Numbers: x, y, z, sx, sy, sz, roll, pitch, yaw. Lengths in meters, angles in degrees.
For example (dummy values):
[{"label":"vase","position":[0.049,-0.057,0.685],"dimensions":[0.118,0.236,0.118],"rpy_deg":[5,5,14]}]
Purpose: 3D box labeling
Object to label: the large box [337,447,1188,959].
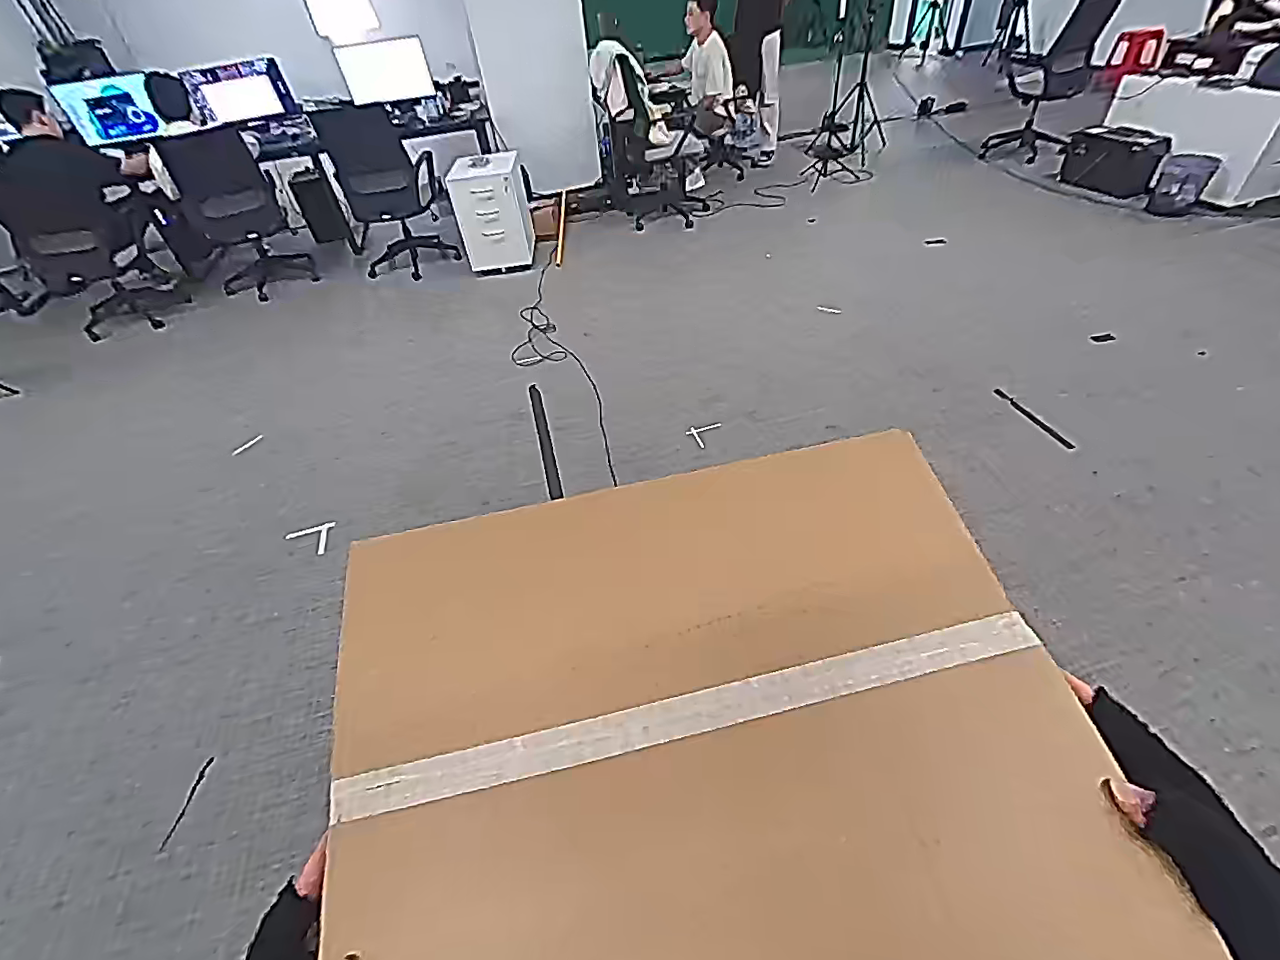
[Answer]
[{"label":"large box","position":[0.041,0.219,0.438],"dimensions":[0.408,0.320,0.320],"rpy_deg":[-12,57,-4]}]
